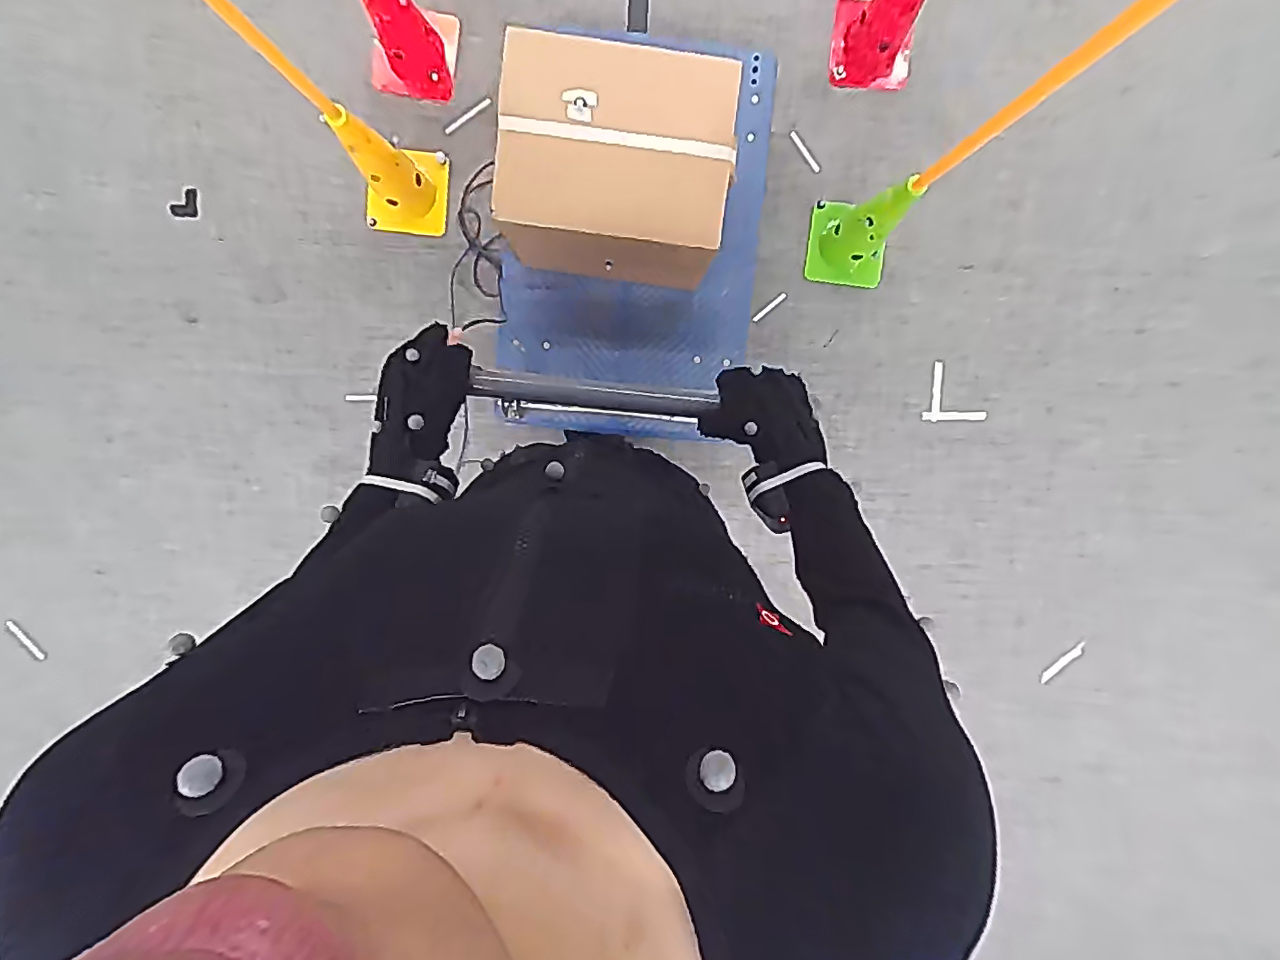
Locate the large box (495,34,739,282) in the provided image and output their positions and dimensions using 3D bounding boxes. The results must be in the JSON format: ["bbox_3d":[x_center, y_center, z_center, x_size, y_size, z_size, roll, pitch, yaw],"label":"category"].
[{"bbox_3d":[-0.041,-0.602,1.079,0.408,0.320,0.320,7,97,-1],"label":"large box"}]

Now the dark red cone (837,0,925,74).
[{"bbox_3d":[0.589,-1.083,1.157,0.201,0.394,0.202,2,97,-3],"label":"dark red cone"}]

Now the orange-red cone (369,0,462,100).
[{"bbox_3d":[-0.545,-1.046,1.169,0.198,0.360,0.199,10,95,-3],"label":"orange-red cone"}]

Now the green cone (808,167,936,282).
[{"bbox_3d":[0.547,-0.605,1.229,0.202,0.368,0.200,6,96,-3],"label":"green cone"}]
